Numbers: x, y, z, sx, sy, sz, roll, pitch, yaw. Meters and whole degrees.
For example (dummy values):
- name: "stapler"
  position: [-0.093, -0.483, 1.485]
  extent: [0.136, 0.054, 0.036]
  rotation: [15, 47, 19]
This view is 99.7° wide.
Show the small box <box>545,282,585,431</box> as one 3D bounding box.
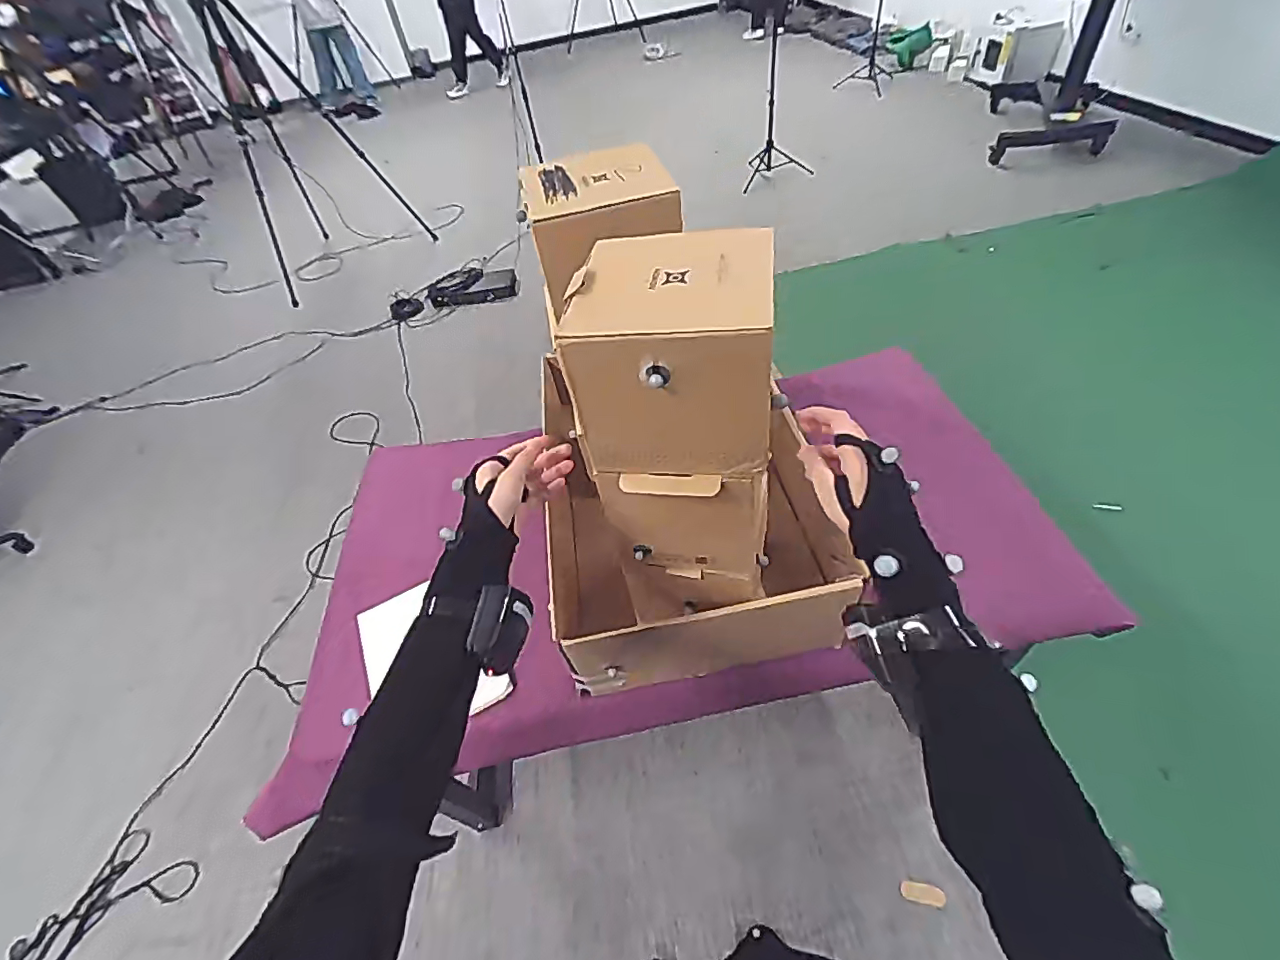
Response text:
- name: "small box"
  position: [-0.036, -0.198, 0.839]
  extent: [0.179, 0.176, 0.168]
  rotation: [-13, 49, -2]

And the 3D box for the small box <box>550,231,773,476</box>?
- name: "small box"
  position: [0.037, -0.118, 0.526]
  extent: [0.179, 0.176, 0.168]
  rotation: [2, 49, 13]

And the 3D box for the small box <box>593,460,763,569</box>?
- name: "small box"
  position: [0.059, -0.012, 0.648]
  extent: [0.168, 0.176, 0.179]
  rotation: [3, 48, 15]
